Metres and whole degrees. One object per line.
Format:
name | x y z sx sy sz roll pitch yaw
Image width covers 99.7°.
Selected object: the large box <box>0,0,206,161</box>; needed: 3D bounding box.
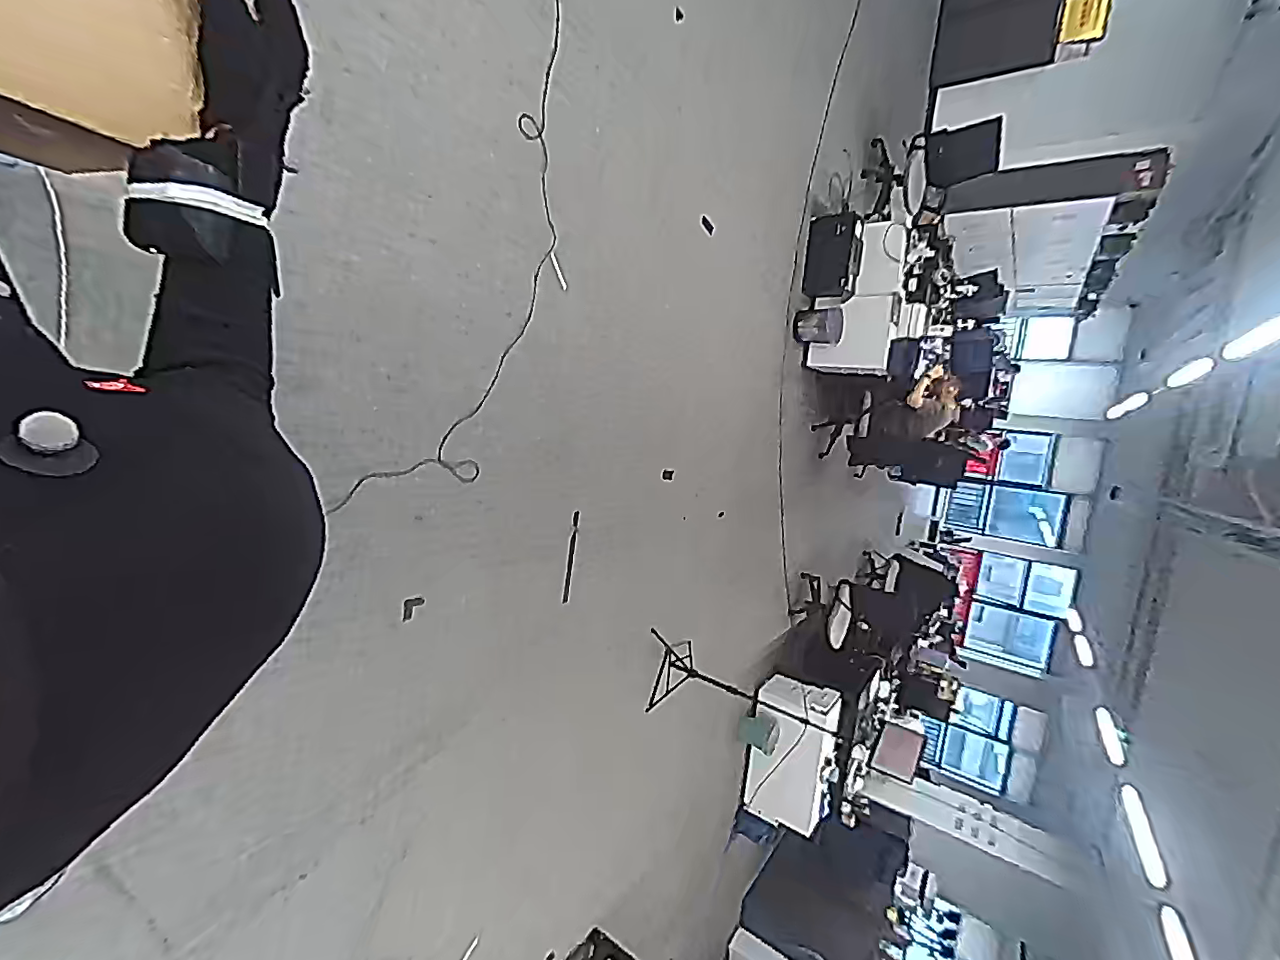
large box | -0.525 -0.419 0.279 0.408 0.320 0.320 -2 108 -59
